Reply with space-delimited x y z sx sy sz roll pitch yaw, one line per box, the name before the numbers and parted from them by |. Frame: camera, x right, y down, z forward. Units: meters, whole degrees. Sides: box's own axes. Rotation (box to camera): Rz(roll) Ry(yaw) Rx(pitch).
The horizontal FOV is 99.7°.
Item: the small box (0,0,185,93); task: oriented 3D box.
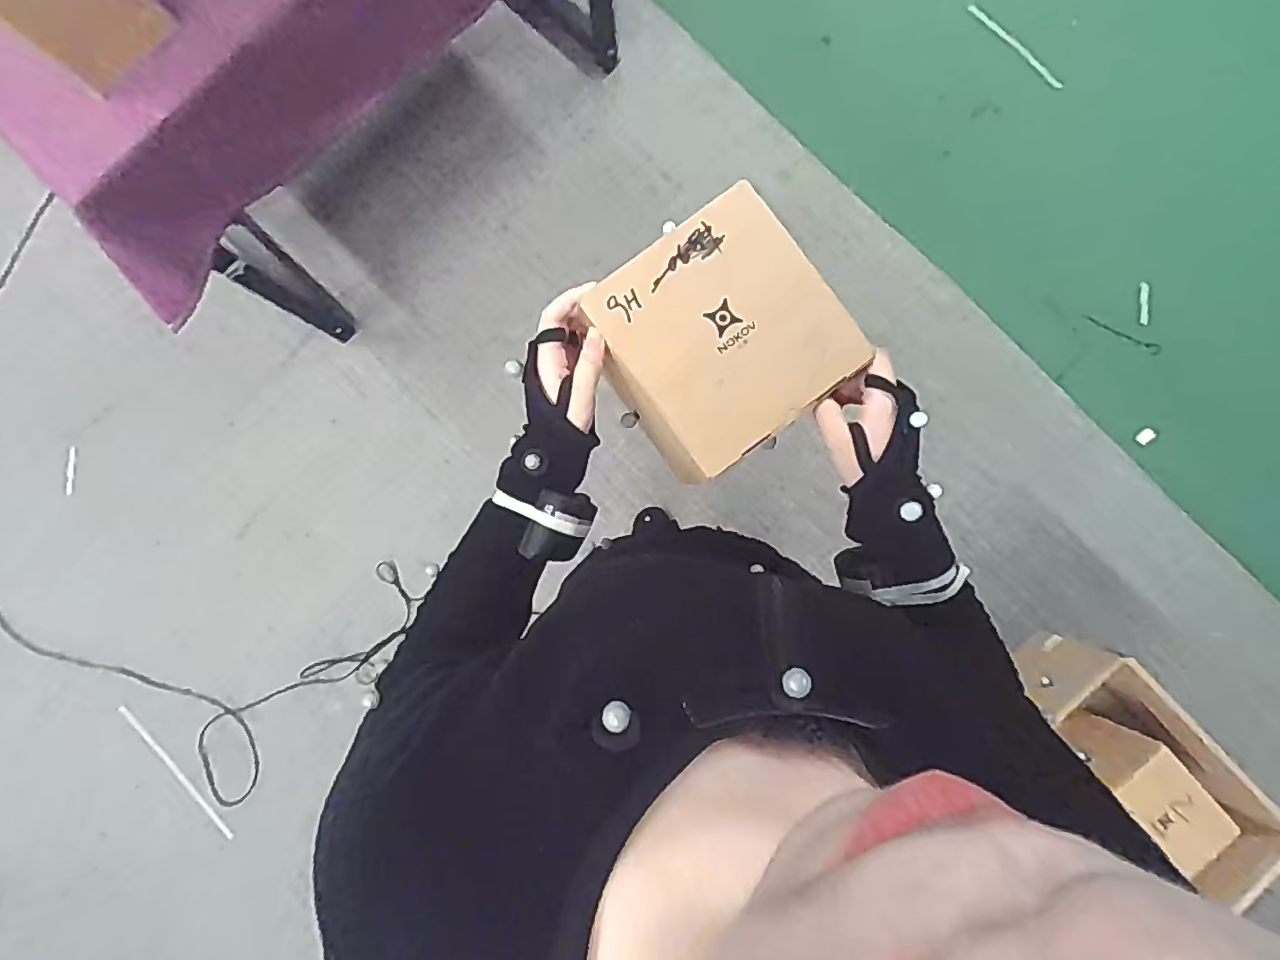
small box | -0.850 -0.738 0.805 0.179 0.176 0.168 -45 85 -2
